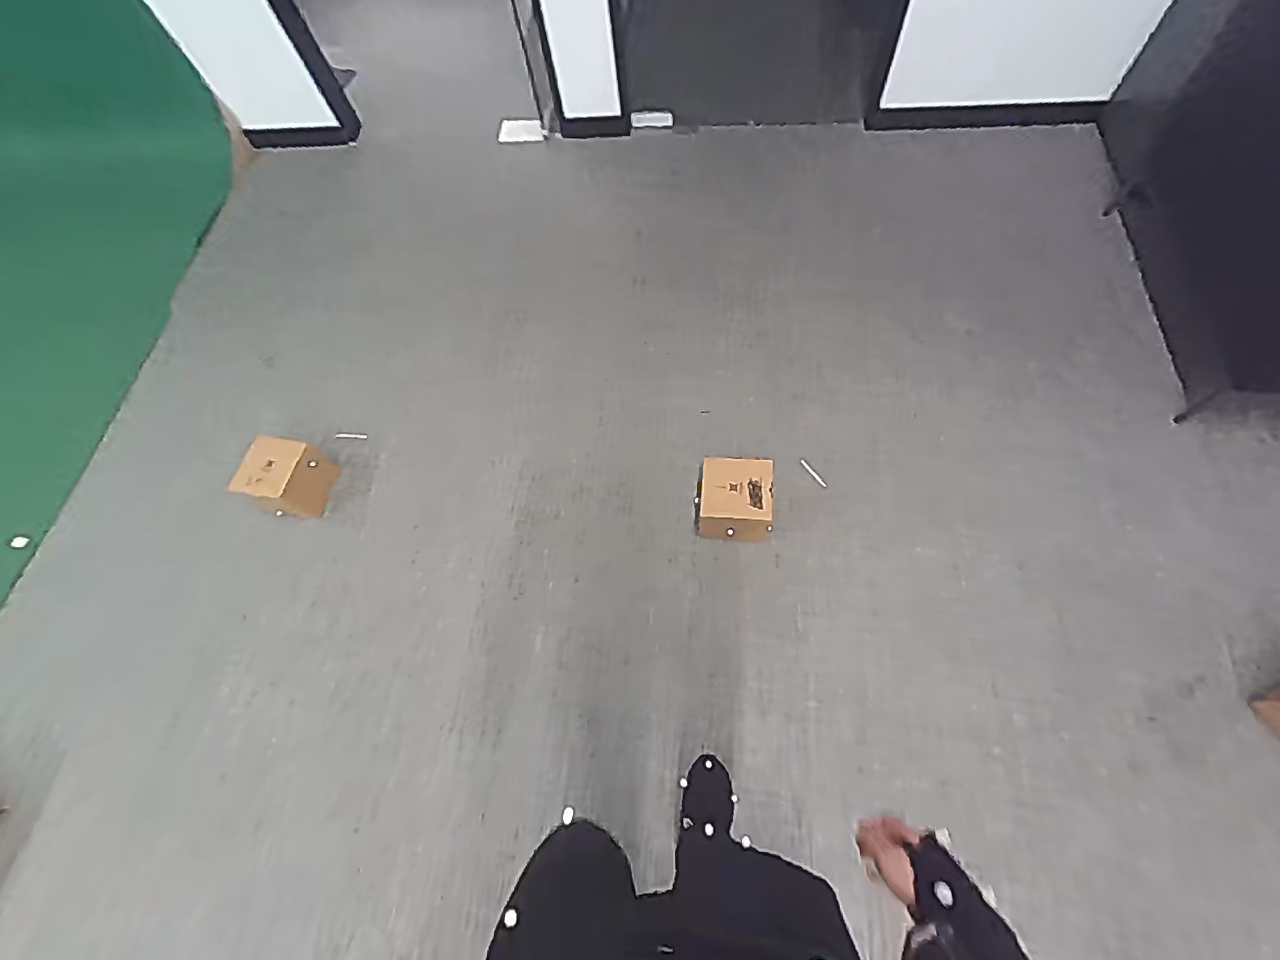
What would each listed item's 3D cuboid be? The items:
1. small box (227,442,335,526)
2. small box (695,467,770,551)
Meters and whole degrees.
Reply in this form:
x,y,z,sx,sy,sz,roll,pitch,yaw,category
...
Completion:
x,y,z,sx,sy,sz,roll,pitch,yaw,category
-1.022,0.015,1.561,0.168,0.176,0.179,8,66,9,small box
0.240,0.081,1.425,0.179,0.176,0.168,4,65,8,small box
